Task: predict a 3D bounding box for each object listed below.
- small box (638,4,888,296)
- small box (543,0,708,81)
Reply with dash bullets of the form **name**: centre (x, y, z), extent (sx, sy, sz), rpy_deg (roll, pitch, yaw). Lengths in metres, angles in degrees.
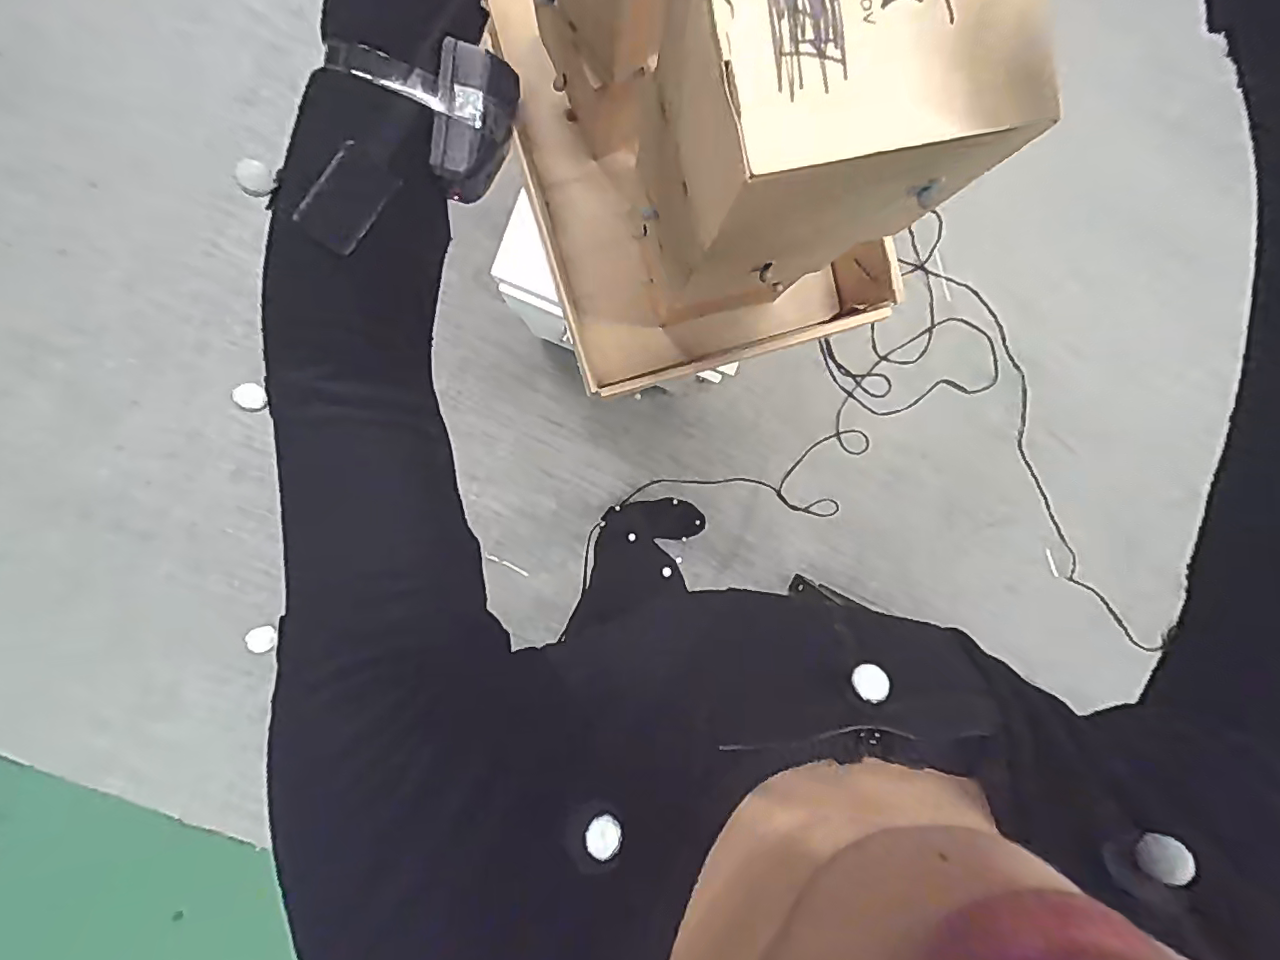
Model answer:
- **small box**: centre (0.103, -0.296, 0.525), extent (0.179, 0.176, 0.168), rpy_deg (-15, 95, -1)
- **small box**: centre (-0.013, -0.532, 0.493), extent (0.179, 0.176, 0.168), rpy_deg (-41, 96, 3)
